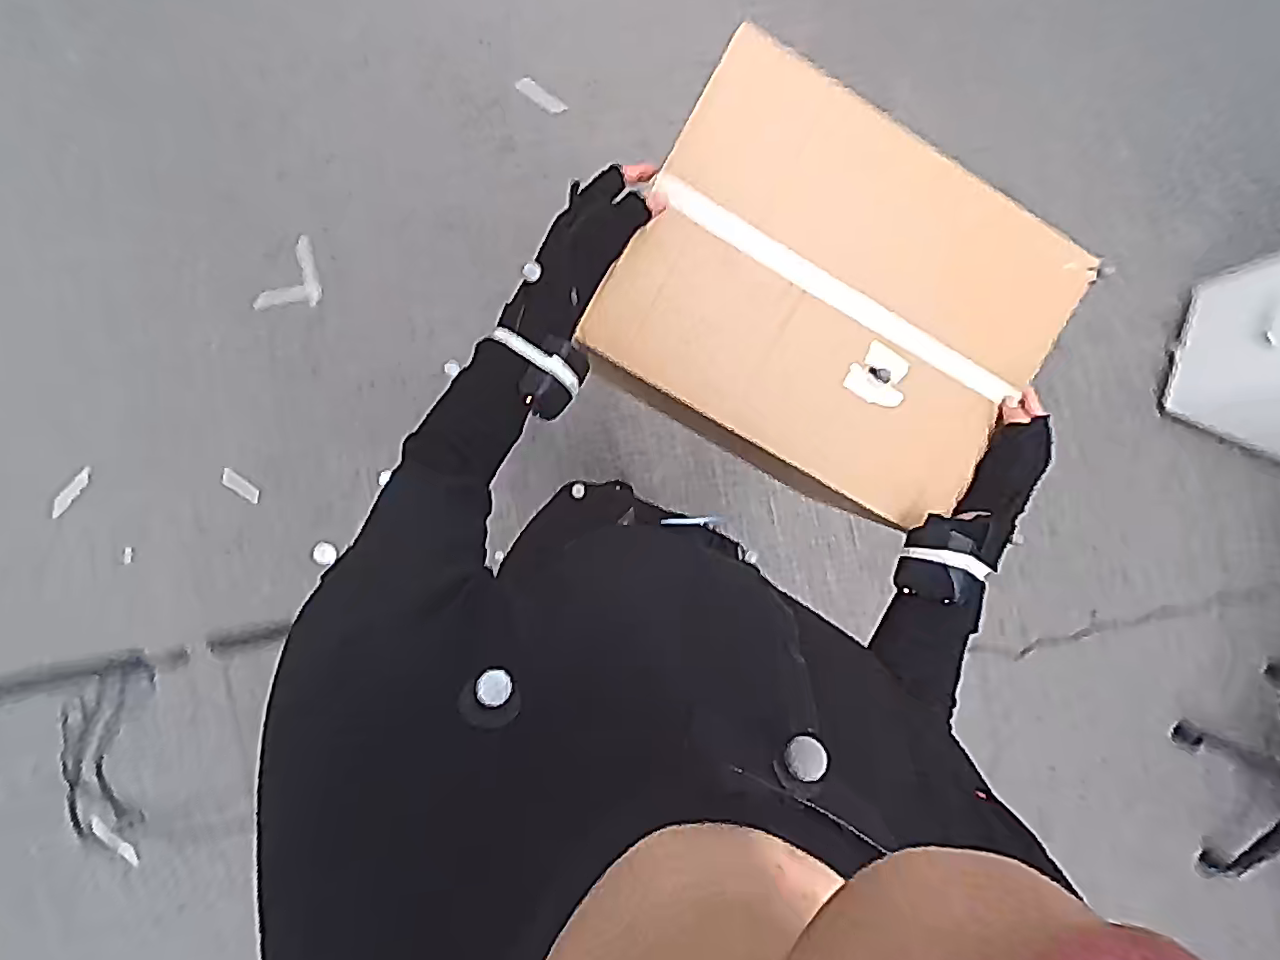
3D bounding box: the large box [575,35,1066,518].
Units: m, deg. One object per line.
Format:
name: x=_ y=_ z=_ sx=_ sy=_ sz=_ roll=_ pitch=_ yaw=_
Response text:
large box: x=0.165 y=-0.198 z=0.665 sx=0.408 sy=0.320 sz=0.320 roll=27 pitch=95 yaw=-8
